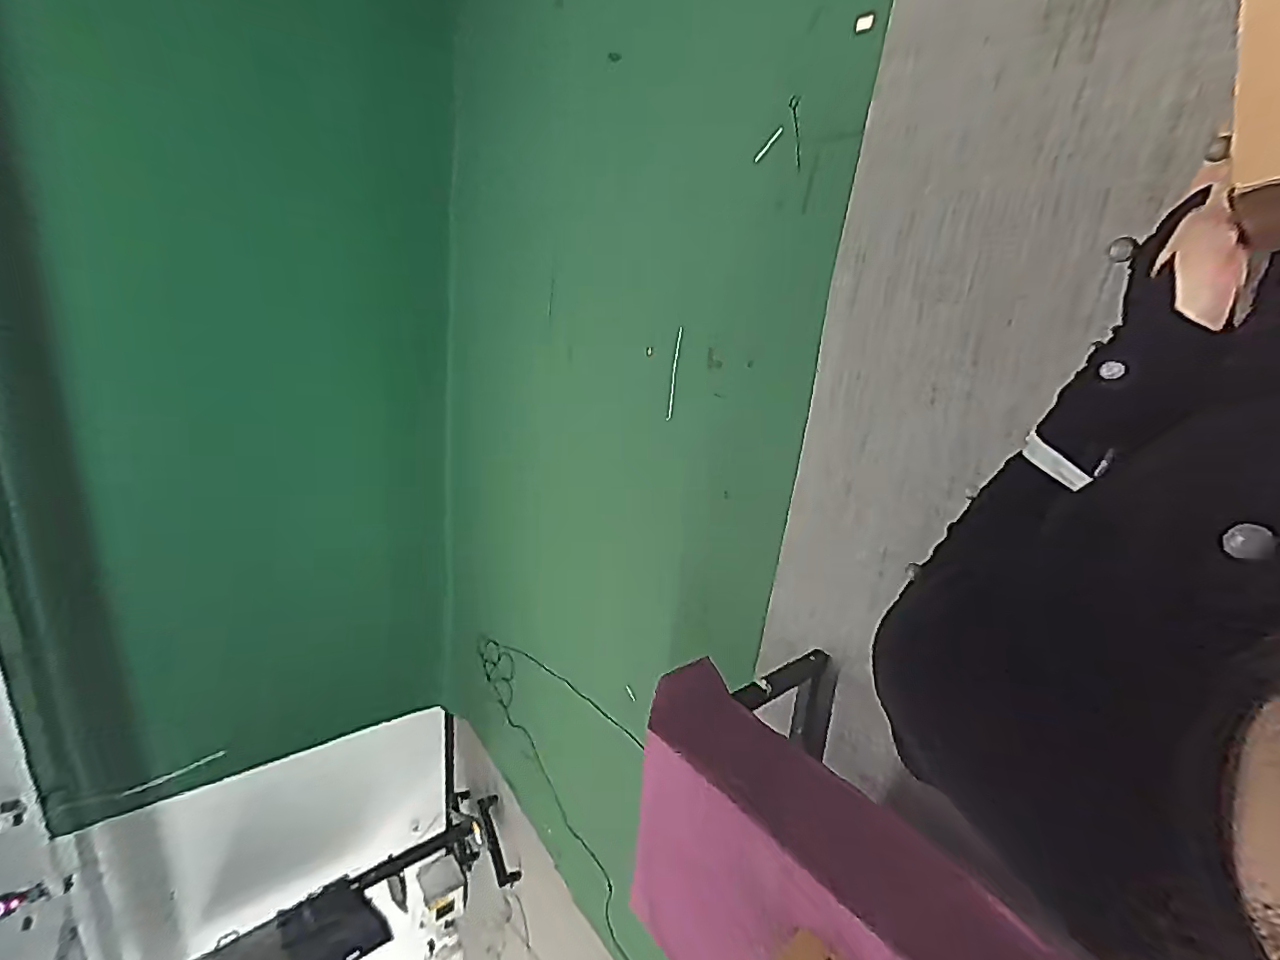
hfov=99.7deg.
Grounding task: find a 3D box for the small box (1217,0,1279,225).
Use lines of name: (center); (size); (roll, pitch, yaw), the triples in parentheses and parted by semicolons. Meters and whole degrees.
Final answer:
small box: (0.375, -0.223, 0.224); (0.168, 0.176, 0.179); (5, 99, 51)
